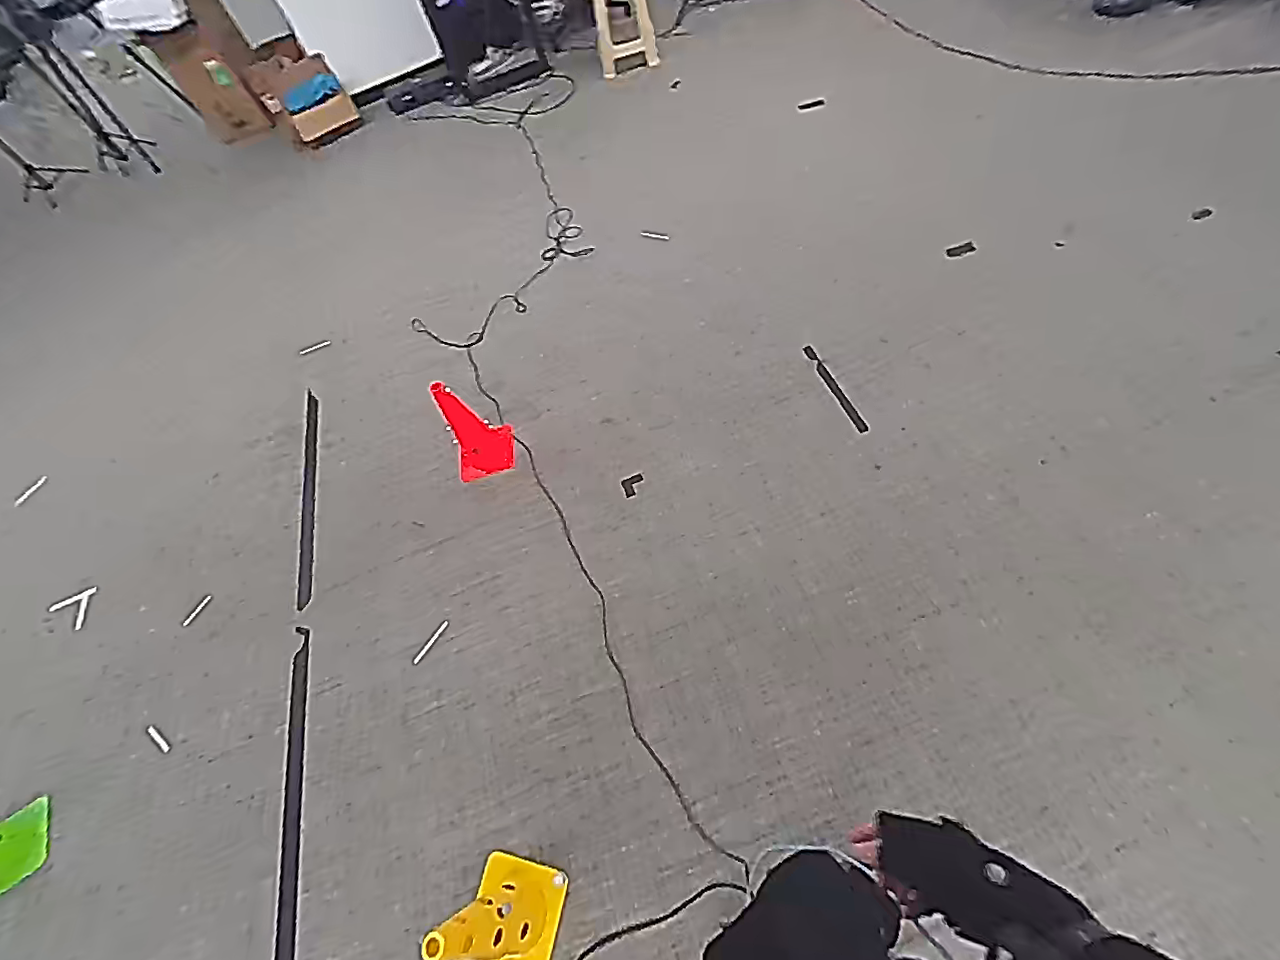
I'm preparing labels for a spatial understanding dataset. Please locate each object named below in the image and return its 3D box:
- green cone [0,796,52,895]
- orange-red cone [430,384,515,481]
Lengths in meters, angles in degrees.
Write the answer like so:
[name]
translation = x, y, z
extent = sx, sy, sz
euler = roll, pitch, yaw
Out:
[green cone]
translation = -1.773, 0.935, 1.363
extent = 0.200, 0.368, 0.202
euler = -35, 56, -9
[orange-red cone]
translation = -0.573, -0.184, 1.763
extent = 0.198, 0.360, 0.199
euler = -16, 57, 4
